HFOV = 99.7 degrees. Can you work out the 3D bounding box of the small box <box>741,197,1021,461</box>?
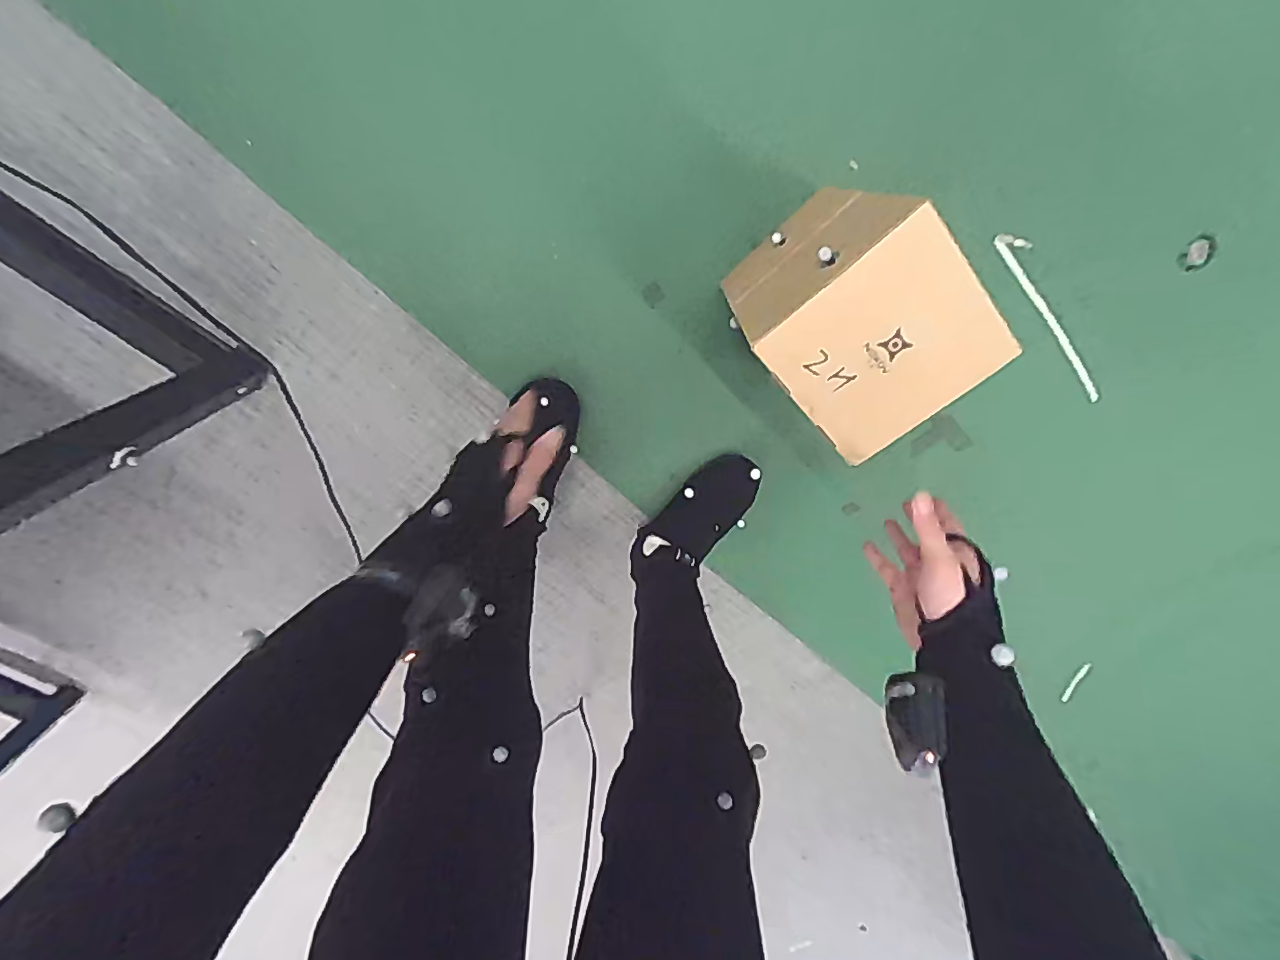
[{"bbox_3d":[0.222,-0.159,0.546,0.179,0.176,0.168,-38,111,22],"label":"small box"}]
